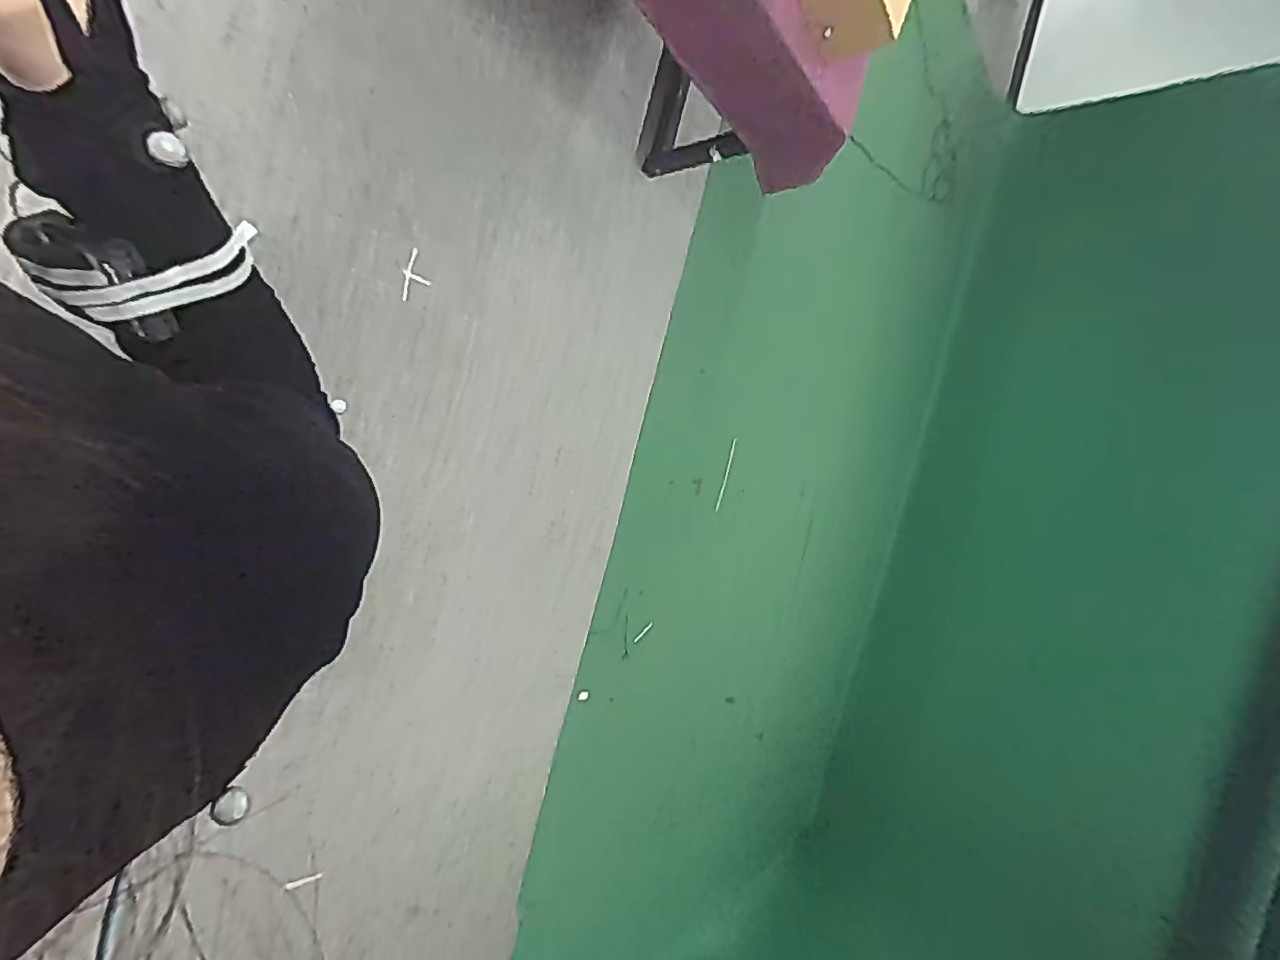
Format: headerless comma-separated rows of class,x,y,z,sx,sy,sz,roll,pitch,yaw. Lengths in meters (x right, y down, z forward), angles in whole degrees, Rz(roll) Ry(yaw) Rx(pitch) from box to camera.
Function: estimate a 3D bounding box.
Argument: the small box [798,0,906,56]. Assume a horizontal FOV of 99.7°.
small box,0.479,-1.094,1.203,0.179,0.176,0.168,24,84,-47
